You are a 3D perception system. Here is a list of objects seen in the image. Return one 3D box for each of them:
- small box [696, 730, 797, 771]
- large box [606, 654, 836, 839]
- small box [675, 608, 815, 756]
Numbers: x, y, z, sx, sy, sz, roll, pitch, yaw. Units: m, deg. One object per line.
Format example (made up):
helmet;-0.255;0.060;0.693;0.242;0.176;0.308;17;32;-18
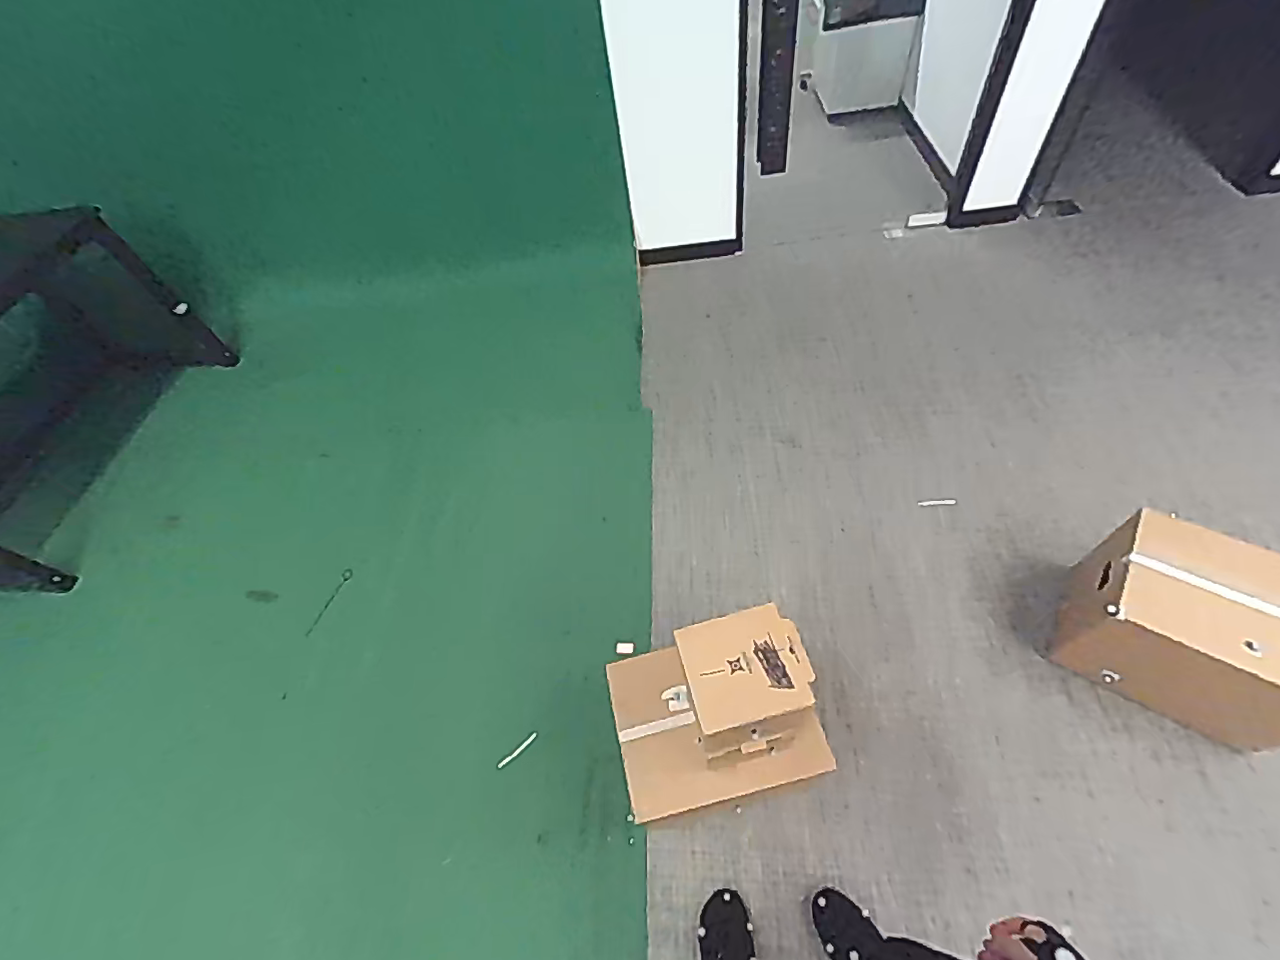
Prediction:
small box;0.183;0.435;1.022;0.168;0.176;0.179;-14;53;-1
large box;0.172;0.579;1.225;0.408;0.320;0.320;-16;52;0
small box;0.164;0.336;0.892;0.179;0.176;0.168;-15;53;-2
